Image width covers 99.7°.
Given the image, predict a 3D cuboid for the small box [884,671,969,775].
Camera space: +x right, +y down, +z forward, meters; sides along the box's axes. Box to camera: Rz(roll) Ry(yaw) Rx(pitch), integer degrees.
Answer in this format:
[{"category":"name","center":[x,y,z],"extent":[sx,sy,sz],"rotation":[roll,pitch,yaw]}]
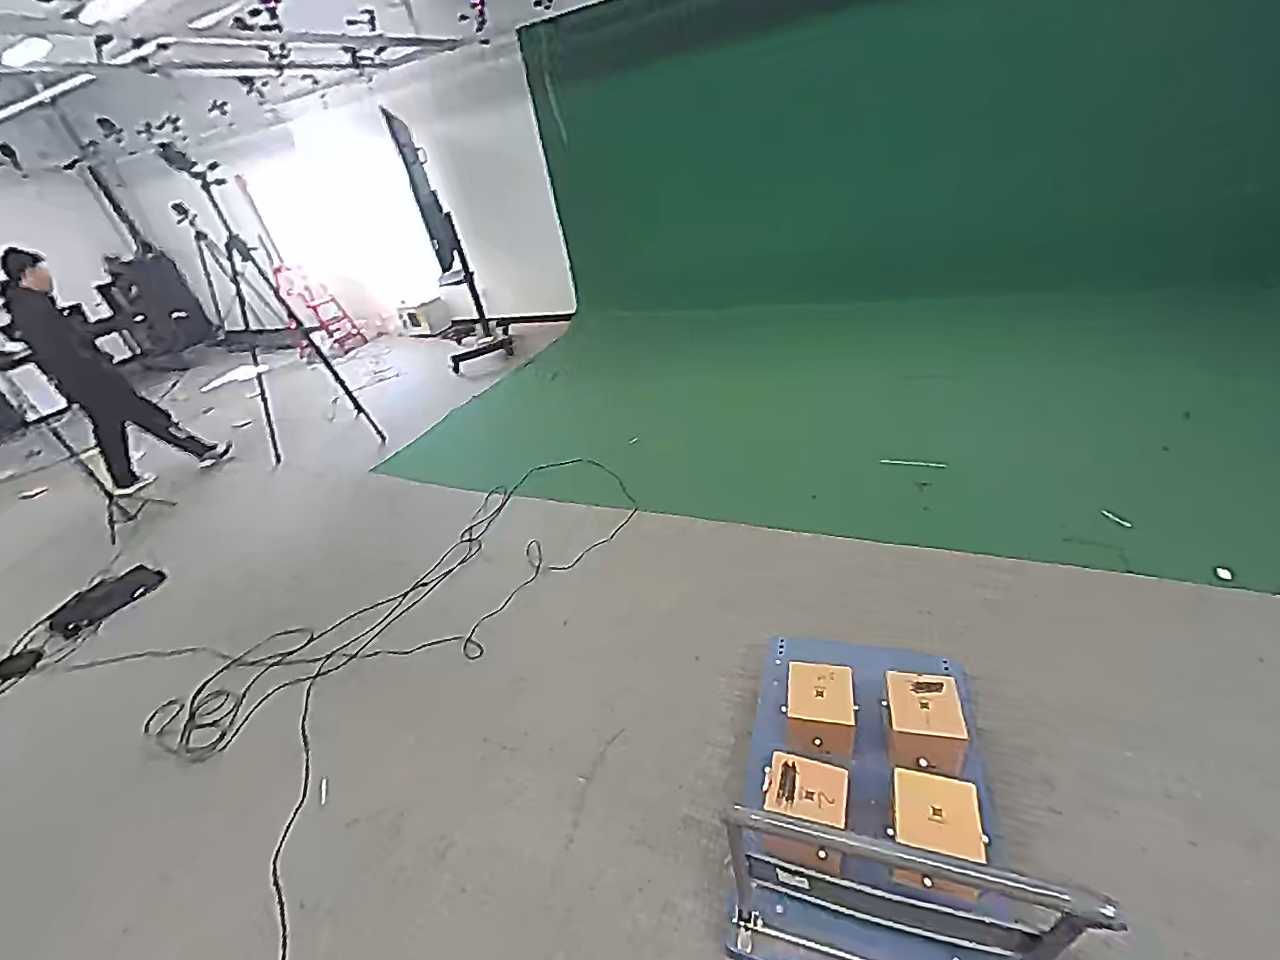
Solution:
[{"category":"small box","center":[0.739,0.632,1.413],"extent":[0.168,0.176,0.179],"rotation":[0,36,18]}]

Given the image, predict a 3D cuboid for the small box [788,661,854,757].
[{"category":"small box","center":[0.497,0.631,1.488],"extent":[0.168,0.176,0.179],"rotation":[1,36,17]}]

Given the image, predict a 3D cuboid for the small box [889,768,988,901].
[{"category":"small box","center":[0.656,0.790,1.209],"extent":[0.168,0.176,0.179],"rotation":[4,37,21]}]
